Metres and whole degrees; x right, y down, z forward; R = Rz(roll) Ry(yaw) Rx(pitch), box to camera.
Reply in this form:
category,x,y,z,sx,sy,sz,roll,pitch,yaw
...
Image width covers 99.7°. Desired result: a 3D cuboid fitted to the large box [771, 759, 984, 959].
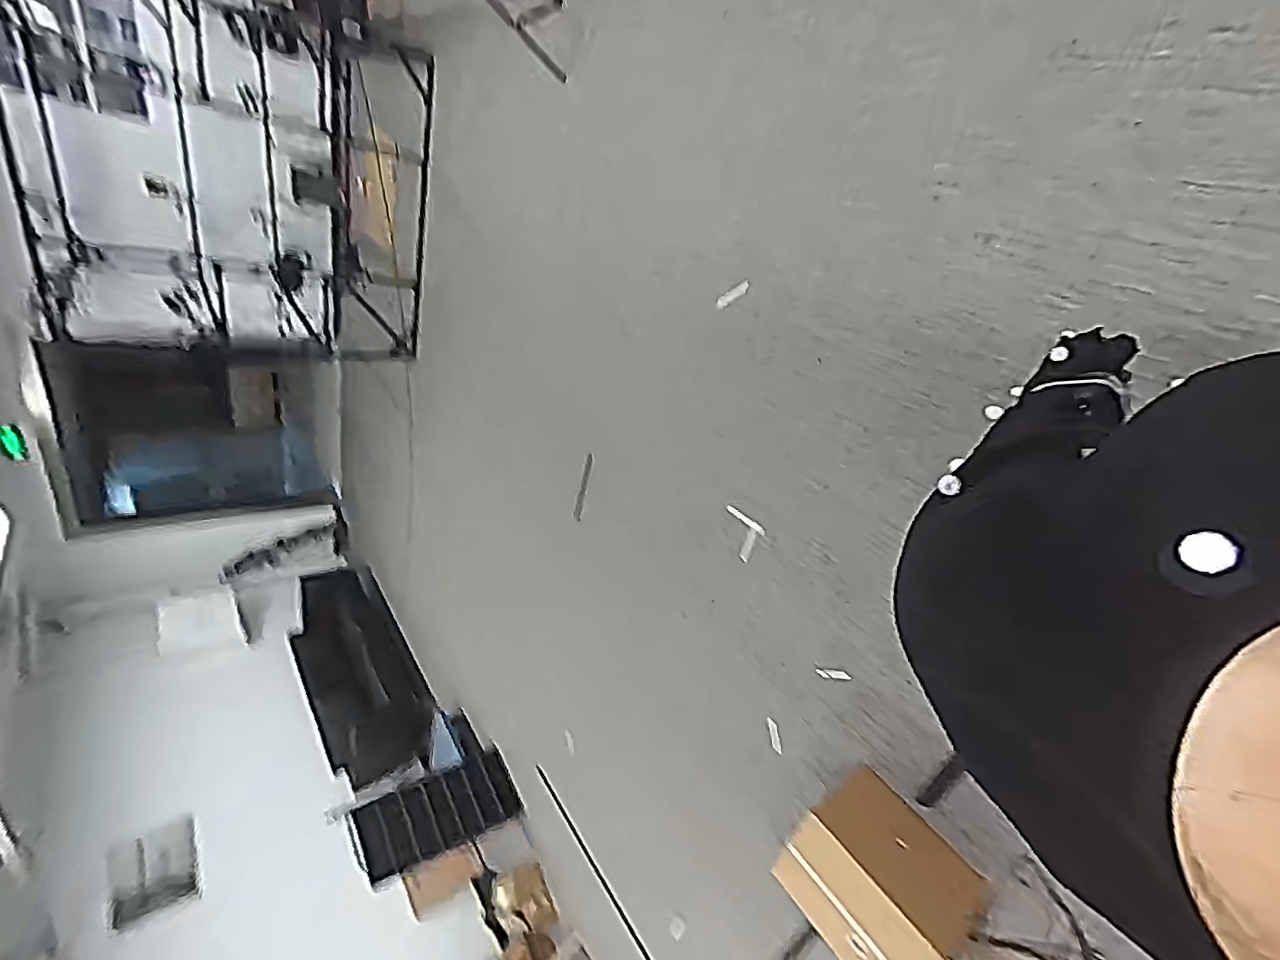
category,x,y,z,sx,sy,sz,roll,pitch,yaw
large box,0.665,1.114,1.550,0.408,0.320,0.320,40,125,38
